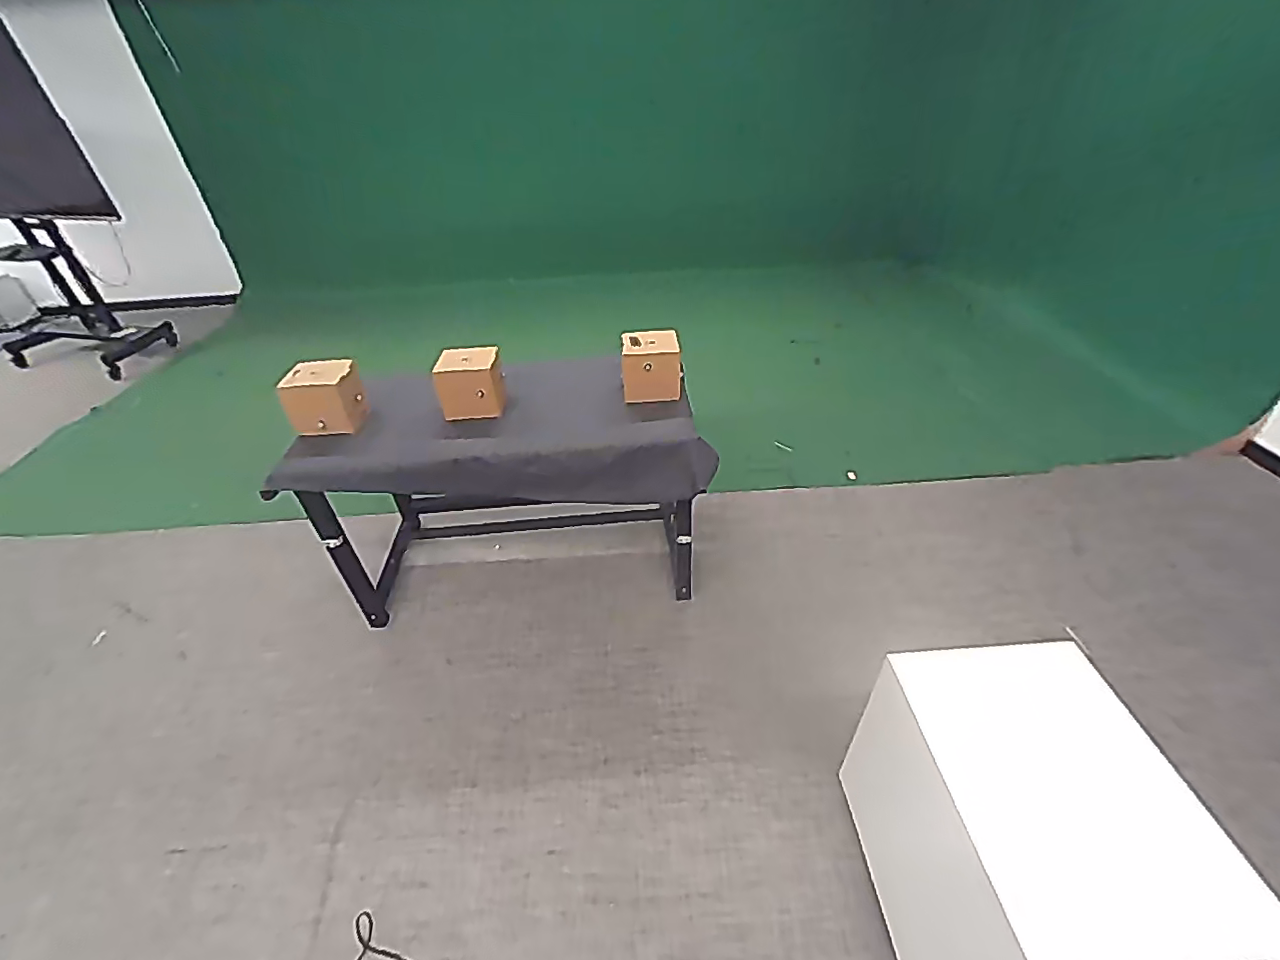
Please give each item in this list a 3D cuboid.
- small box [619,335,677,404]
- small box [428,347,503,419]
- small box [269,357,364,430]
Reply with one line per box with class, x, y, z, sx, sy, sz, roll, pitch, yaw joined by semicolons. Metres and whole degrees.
small box;0.024;-0.353;1.737;0.179;0.176;0.168;-2;38;-2
small box;-0.537;-0.304;1.694;0.179;0.176;0.168;-4;36;-2
small box;-0.972;-0.262;1.645;0.179;0.176;0.168;-2;37;-3
